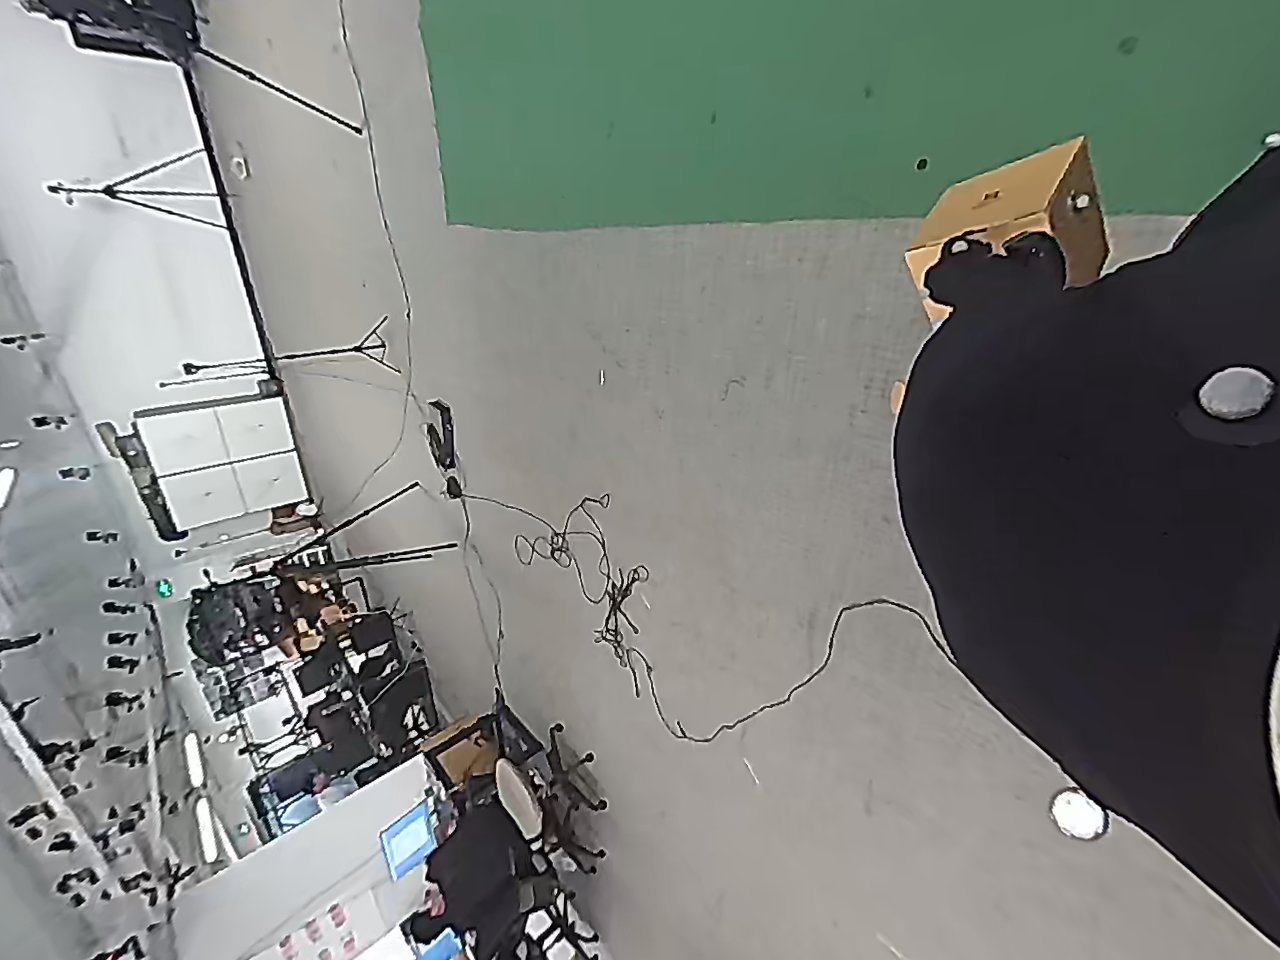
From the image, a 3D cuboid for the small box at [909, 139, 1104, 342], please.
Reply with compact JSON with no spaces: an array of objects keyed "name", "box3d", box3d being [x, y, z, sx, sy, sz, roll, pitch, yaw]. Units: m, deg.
[{"name":"small box","box3d":[0.512,-0.318,0.749,0.168,0.179,0.176,4,140,55]}]
